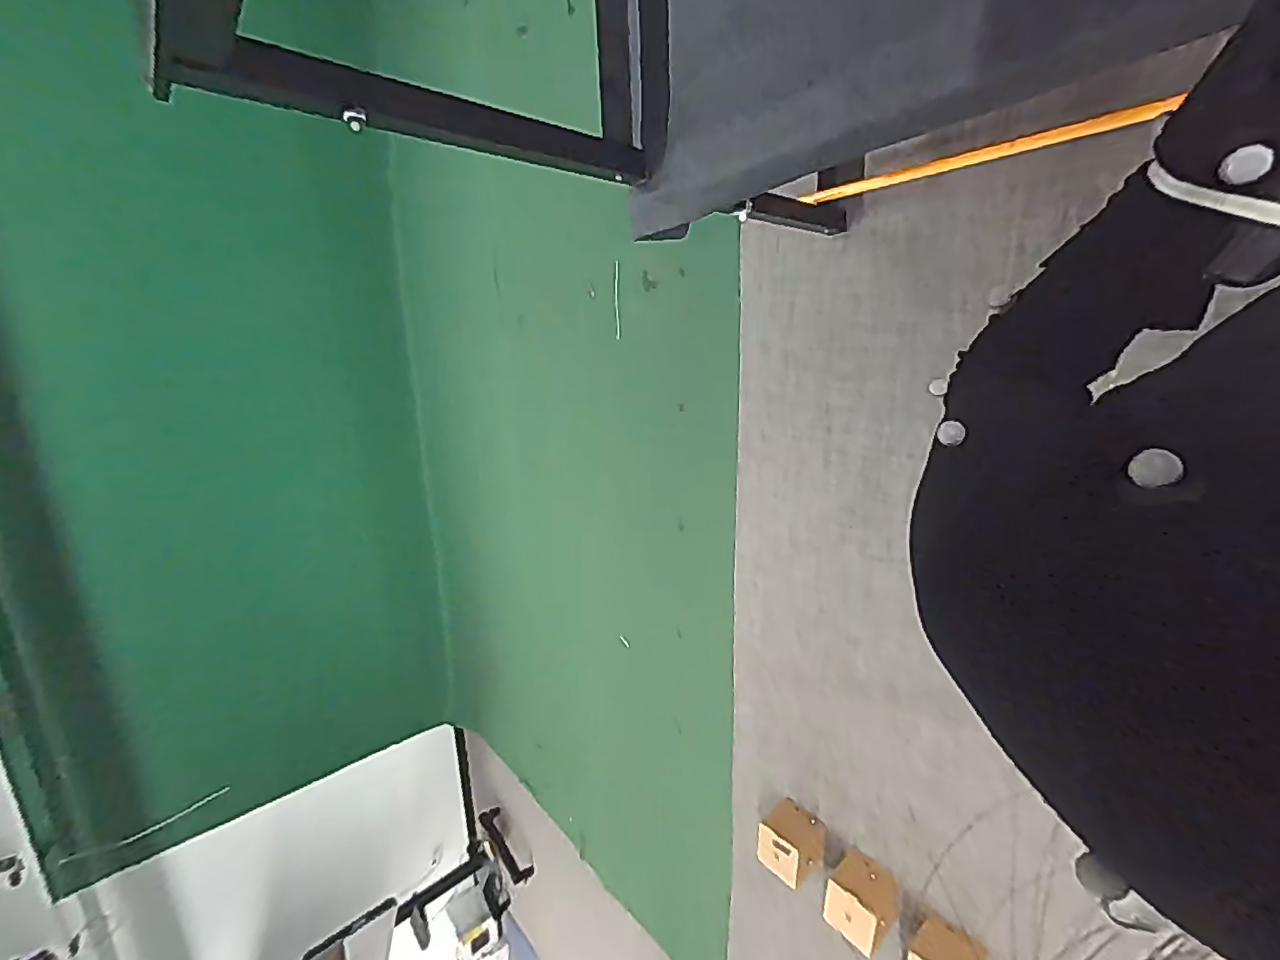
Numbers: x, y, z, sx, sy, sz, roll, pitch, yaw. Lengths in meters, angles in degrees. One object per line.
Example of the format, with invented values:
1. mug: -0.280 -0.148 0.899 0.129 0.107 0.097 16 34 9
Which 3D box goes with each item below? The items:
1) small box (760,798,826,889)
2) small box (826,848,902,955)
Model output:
1. small box: 0.554 1.303 1.954 0.168 0.176 0.179 16 112 47
2. small box: 0.732 1.365 1.761 0.168 0.176 0.179 17 112 47
